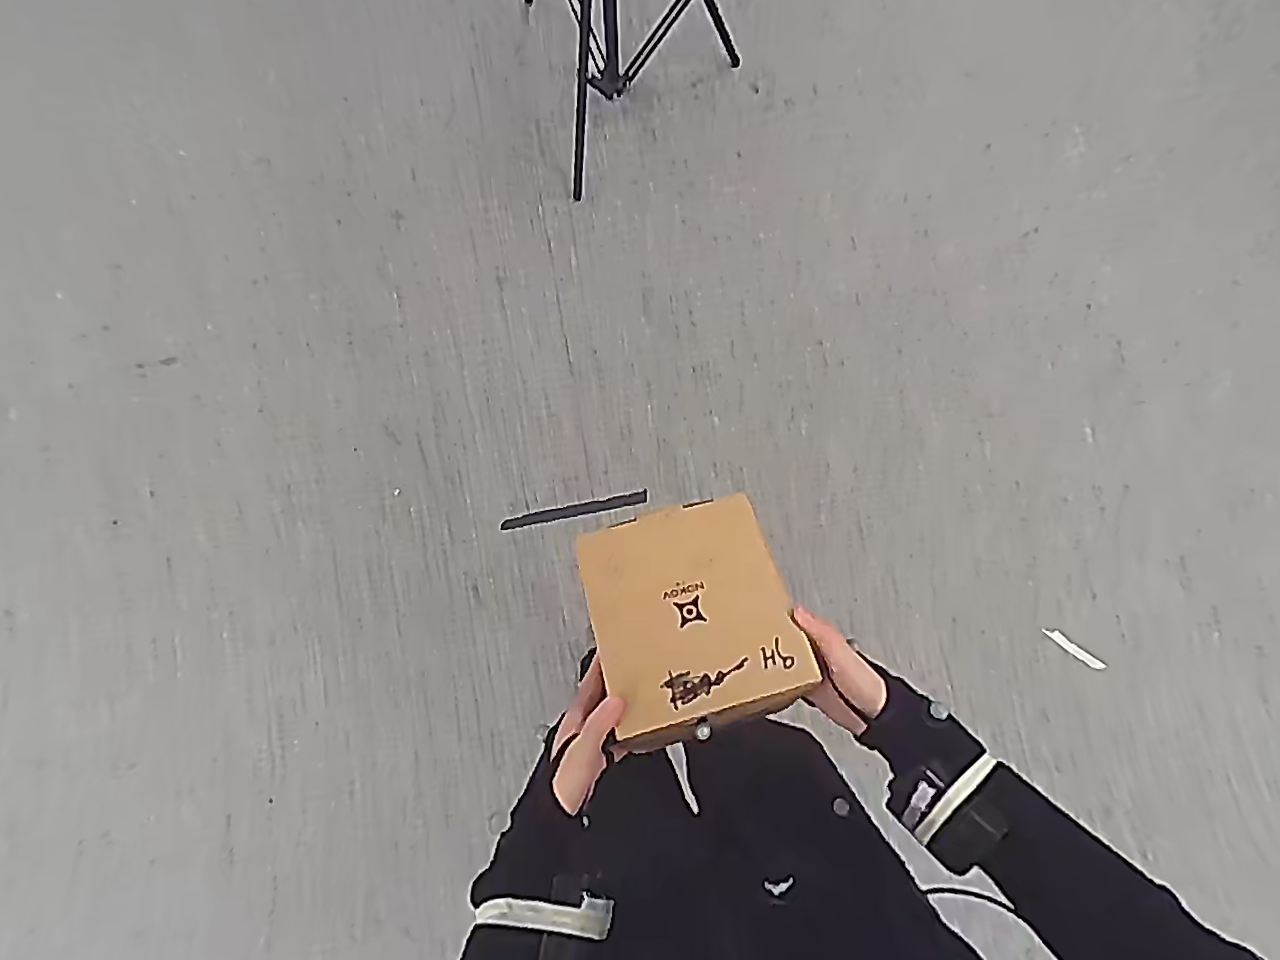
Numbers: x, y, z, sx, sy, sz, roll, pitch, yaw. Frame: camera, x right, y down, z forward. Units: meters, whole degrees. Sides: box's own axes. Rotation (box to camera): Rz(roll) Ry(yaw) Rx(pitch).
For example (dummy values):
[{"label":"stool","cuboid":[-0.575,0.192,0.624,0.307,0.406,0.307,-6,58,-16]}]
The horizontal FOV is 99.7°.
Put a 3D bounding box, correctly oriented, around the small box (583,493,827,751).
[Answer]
[{"label":"small box","cuboid":[0.050,0.142,0.520,0.168,0.176,0.179,-15,60,-4]}]
